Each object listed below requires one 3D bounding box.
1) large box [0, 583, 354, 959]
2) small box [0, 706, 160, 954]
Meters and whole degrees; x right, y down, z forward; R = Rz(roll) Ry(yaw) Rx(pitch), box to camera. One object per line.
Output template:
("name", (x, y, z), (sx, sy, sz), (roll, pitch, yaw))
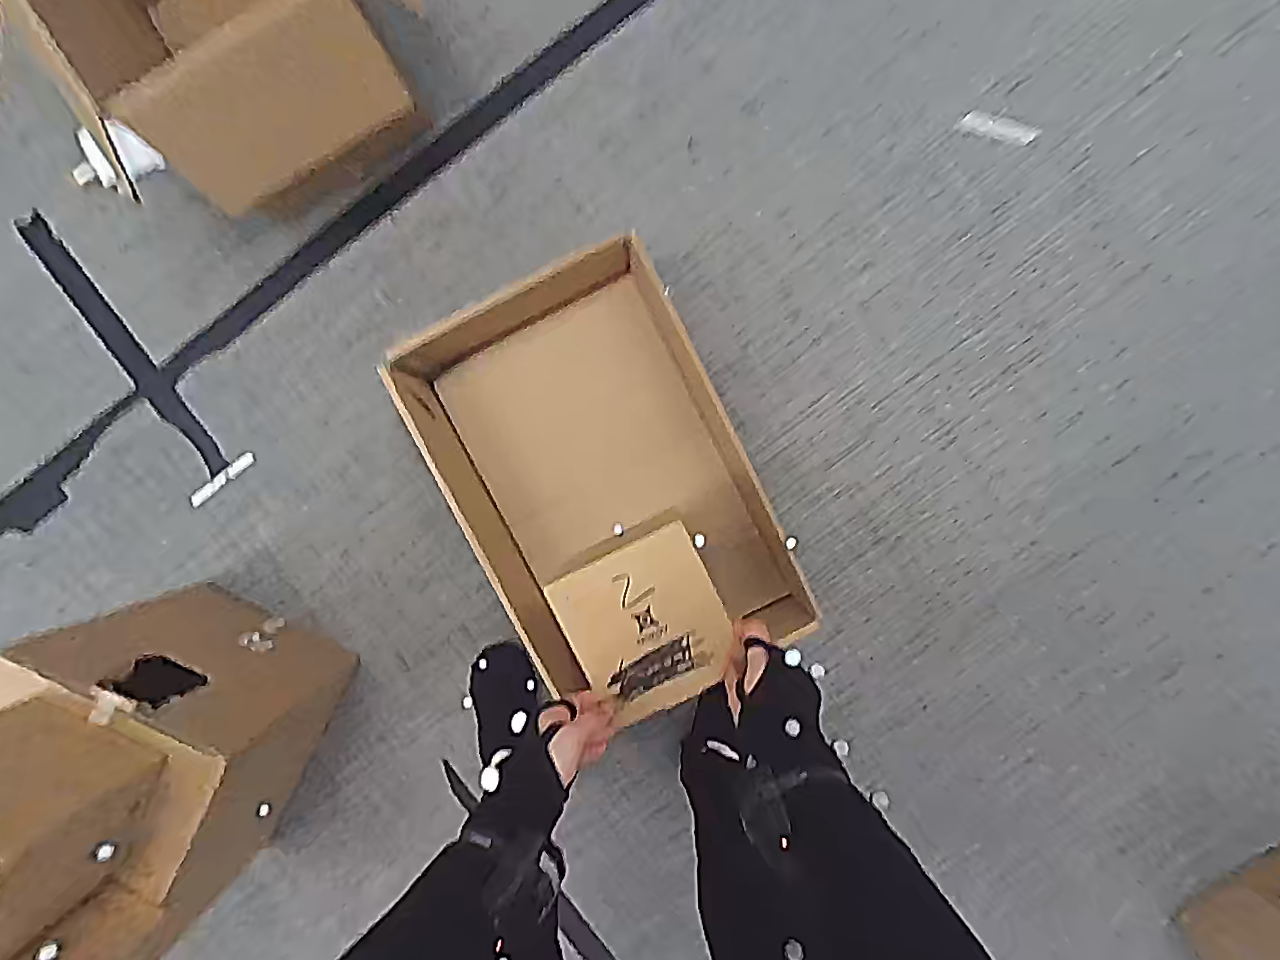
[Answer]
("large box", (-0.713, 0.427, 0.808), (0.320, 0.320, 0.408), (26, 95, -1))
("small box", (-0.671, 0.365, 0.557), (0.179, 0.176, 0.168), (25, 95, -2))
